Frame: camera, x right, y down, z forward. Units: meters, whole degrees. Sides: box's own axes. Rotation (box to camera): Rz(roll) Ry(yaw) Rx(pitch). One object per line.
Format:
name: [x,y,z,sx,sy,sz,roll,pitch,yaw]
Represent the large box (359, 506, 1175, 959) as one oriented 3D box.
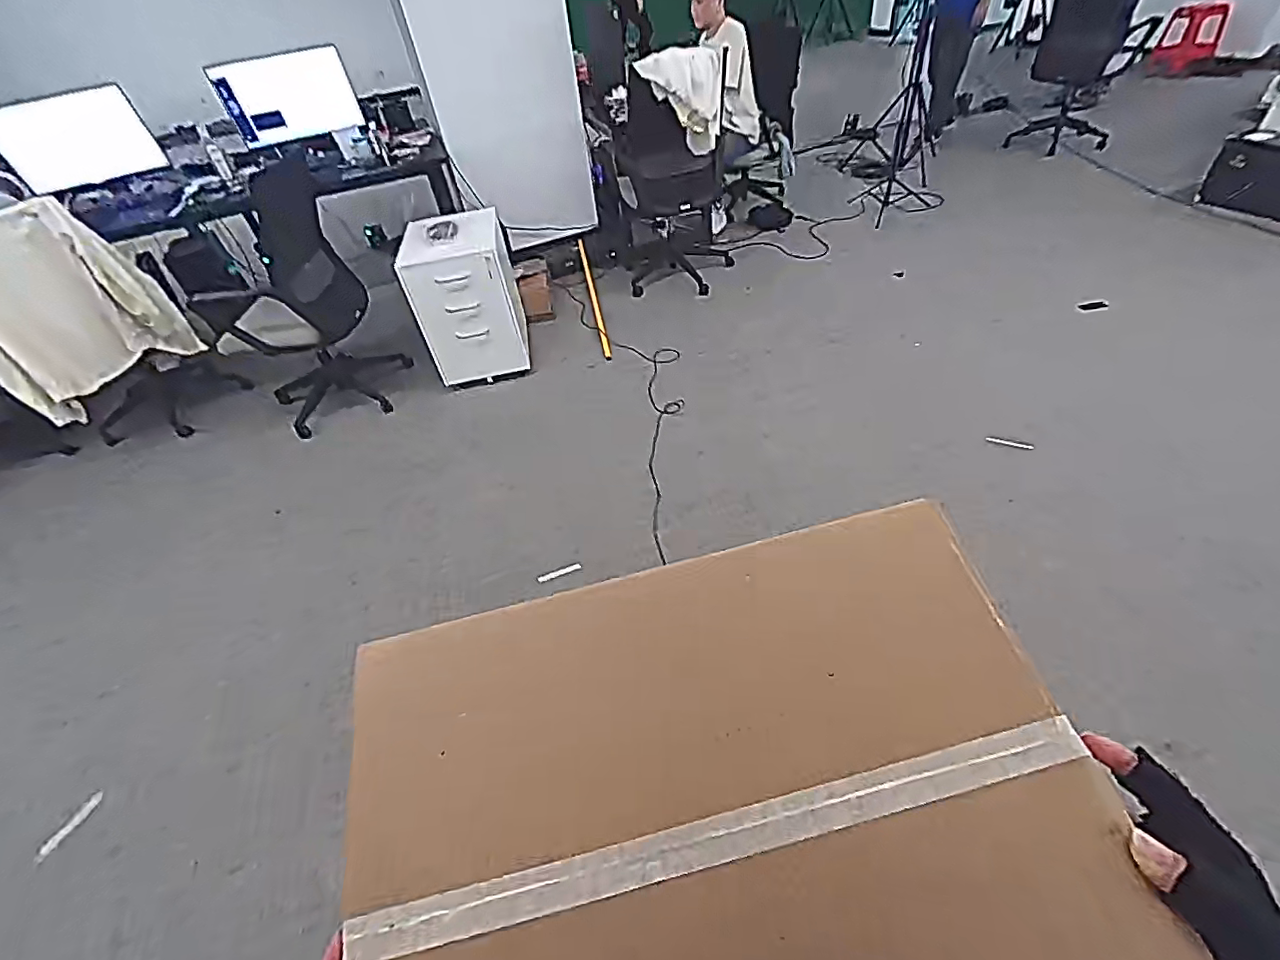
large box: [0.055,0.268,0.431,0.408,0.320,0.320,-15,58,-2]
